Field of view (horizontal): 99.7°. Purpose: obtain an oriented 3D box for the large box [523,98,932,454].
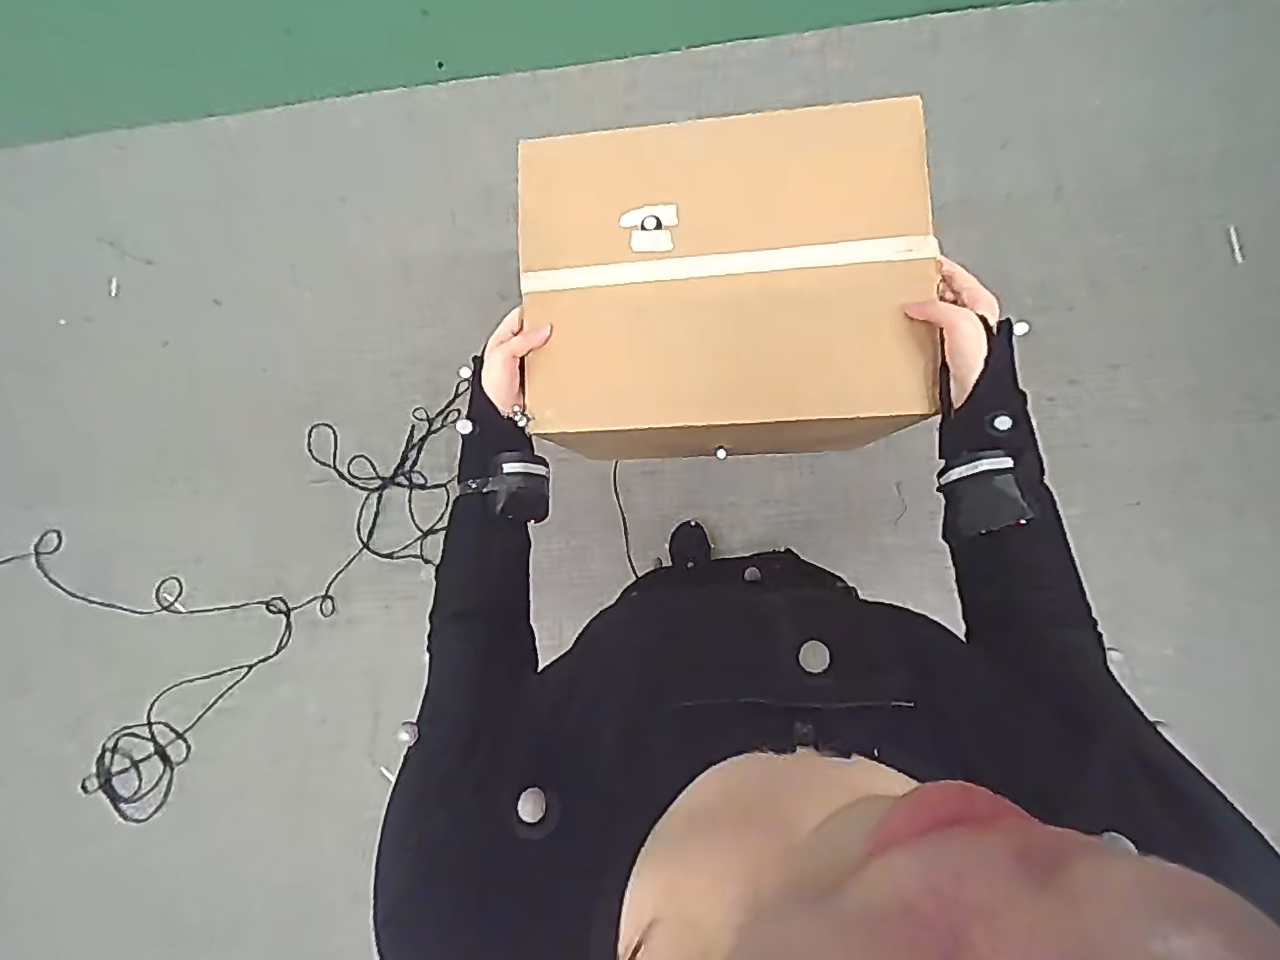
[{"bbox_3d":[0.099,-0.207,0.697,0.408,0.320,0.320,-3,86,8],"label":"large box"}]
